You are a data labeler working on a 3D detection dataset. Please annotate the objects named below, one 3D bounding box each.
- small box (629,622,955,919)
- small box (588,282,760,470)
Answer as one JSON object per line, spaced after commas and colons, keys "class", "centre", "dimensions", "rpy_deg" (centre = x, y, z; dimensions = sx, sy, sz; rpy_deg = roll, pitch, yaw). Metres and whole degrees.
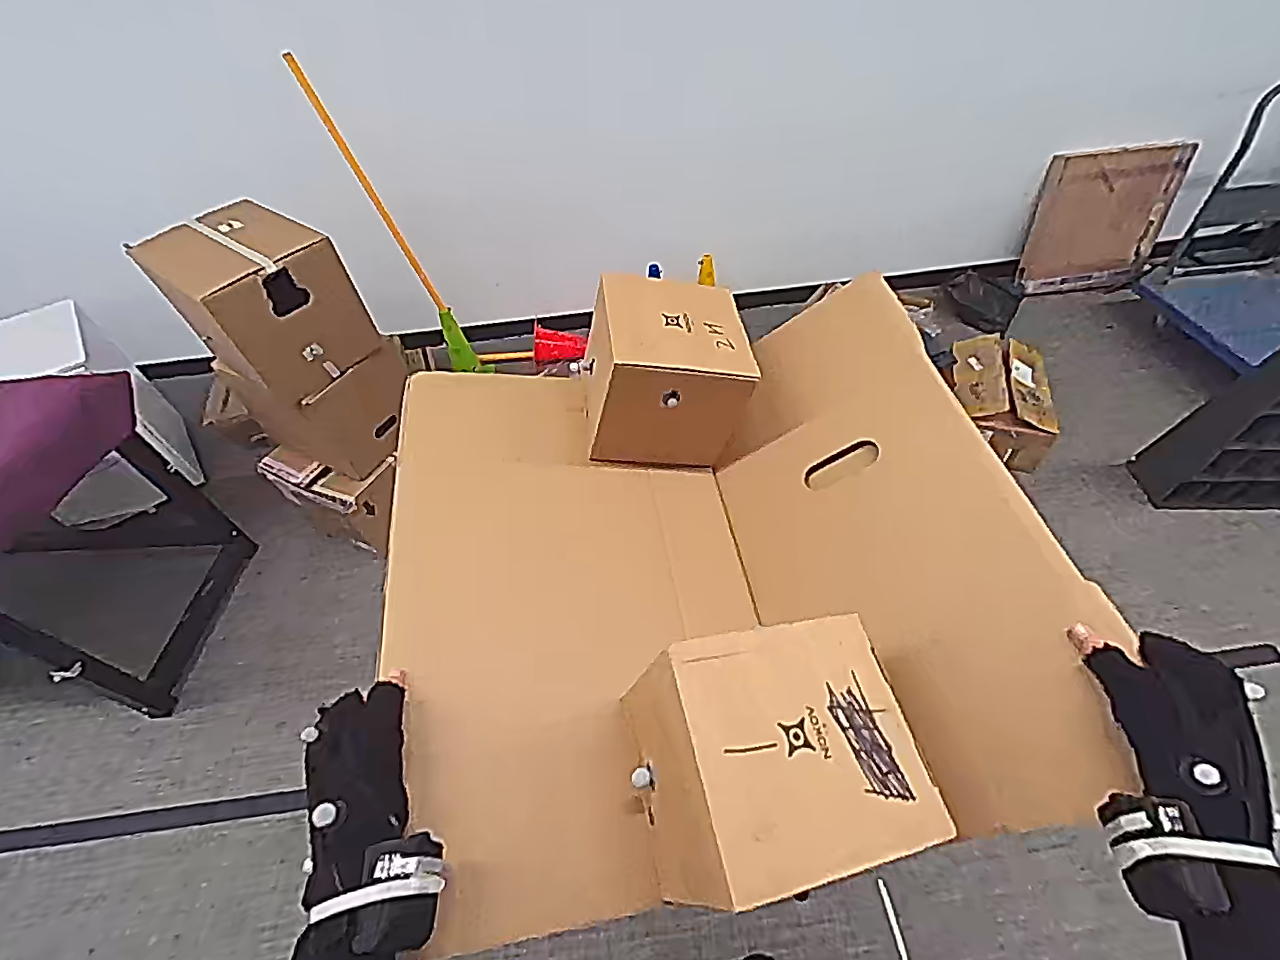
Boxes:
{"class": "small box", "centre": [0.104, 0.236, 0.453], "dimensions": [0.179, 0.176, 0.168], "rpy_deg": [-4, 56, -18]}
{"class": "small box", "centre": [0.028, -0.127, 0.701], "dimensions": [0.179, 0.176, 0.168], "rpy_deg": [3, 54, -15]}
